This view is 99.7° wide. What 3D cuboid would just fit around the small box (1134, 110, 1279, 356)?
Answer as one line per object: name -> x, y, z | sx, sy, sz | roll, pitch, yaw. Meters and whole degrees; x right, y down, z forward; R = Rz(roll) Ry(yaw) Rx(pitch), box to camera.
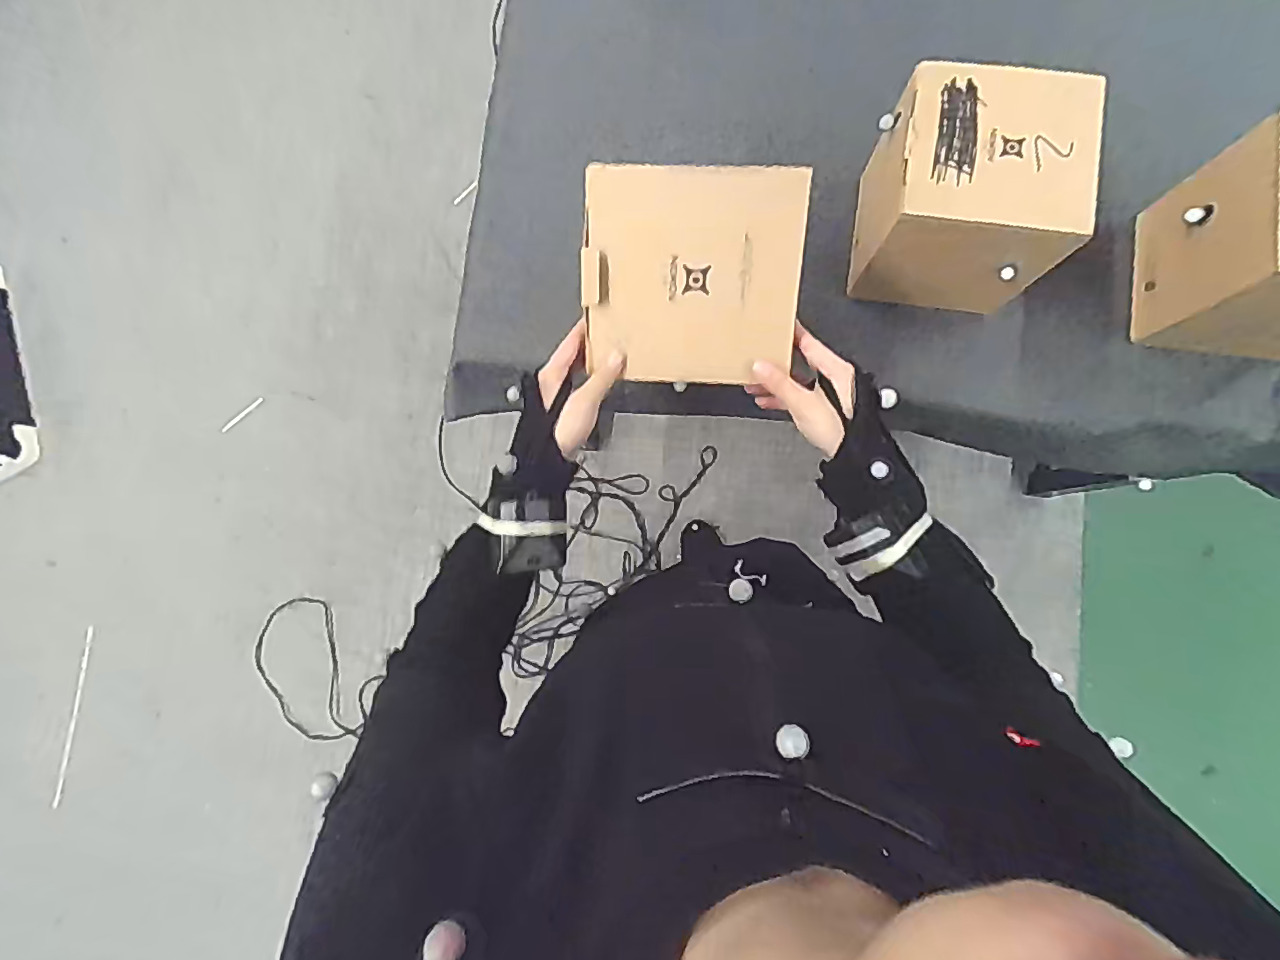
small box -> 0.663, -0.239, 0.555 | 0.179, 0.176, 0.168 | 8, 83, 5
